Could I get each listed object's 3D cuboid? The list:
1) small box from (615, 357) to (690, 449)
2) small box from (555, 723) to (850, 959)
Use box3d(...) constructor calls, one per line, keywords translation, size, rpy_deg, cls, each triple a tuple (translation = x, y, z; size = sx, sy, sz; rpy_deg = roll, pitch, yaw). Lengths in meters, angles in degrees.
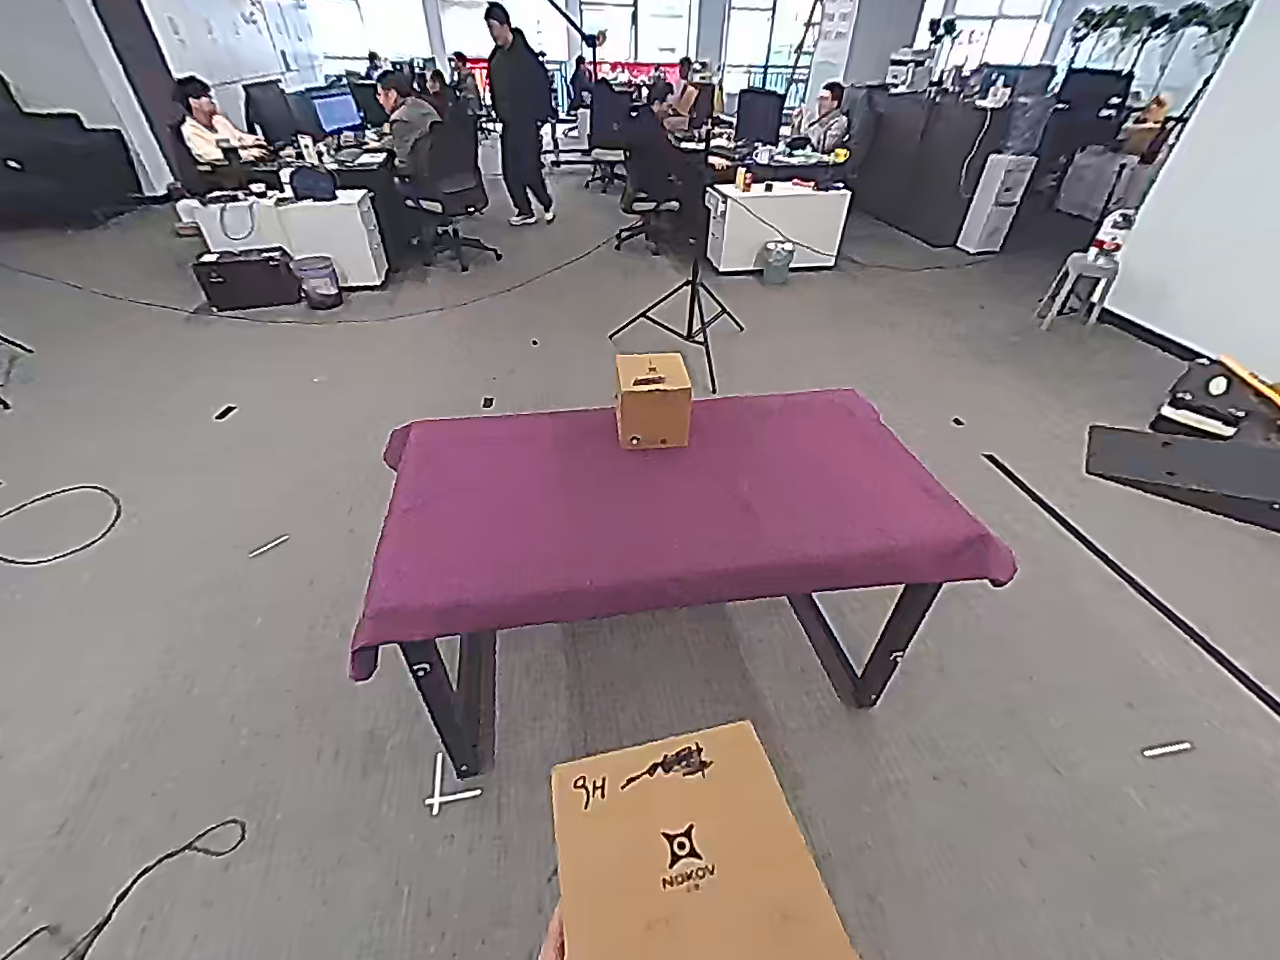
box3d(translation=(0.027, -0.187, 1.339), size=(0.168, 0.176, 0.179), rpy_deg=(-3, 40, -6), cls="small box")
box3d(translation=(0.035, 0.323, 0.401), size=(0.168, 0.176, 0.179), rpy_deg=(-9, 32, -8), cls="small box")
